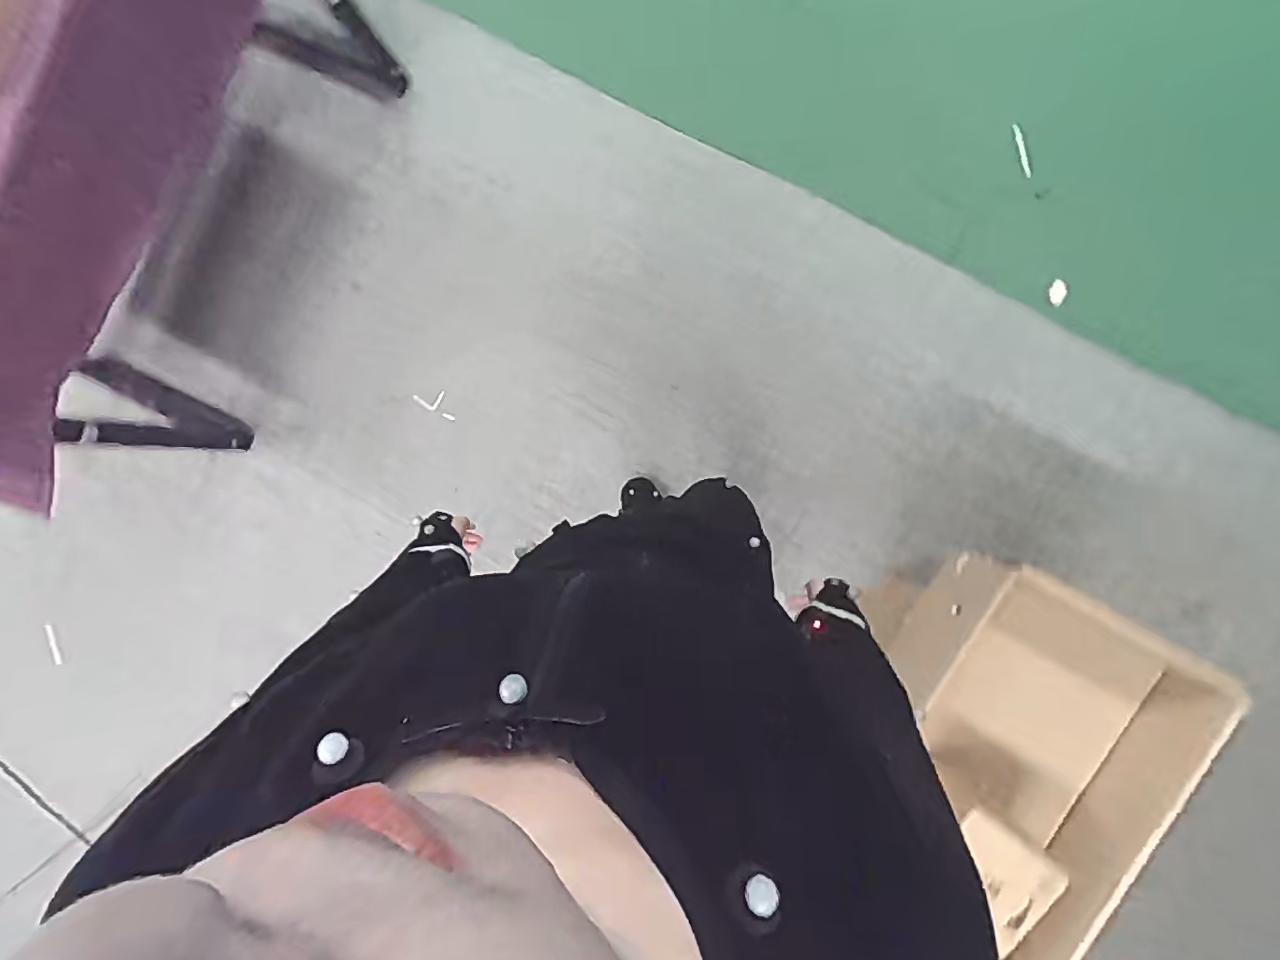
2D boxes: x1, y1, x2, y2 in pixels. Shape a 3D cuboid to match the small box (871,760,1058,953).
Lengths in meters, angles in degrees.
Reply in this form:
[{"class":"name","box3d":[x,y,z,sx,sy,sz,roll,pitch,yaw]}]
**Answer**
[{"class":"small box","box3d":[0.525,0.611,0.909,0.179,0.176,0.168,38,94,4]}]
